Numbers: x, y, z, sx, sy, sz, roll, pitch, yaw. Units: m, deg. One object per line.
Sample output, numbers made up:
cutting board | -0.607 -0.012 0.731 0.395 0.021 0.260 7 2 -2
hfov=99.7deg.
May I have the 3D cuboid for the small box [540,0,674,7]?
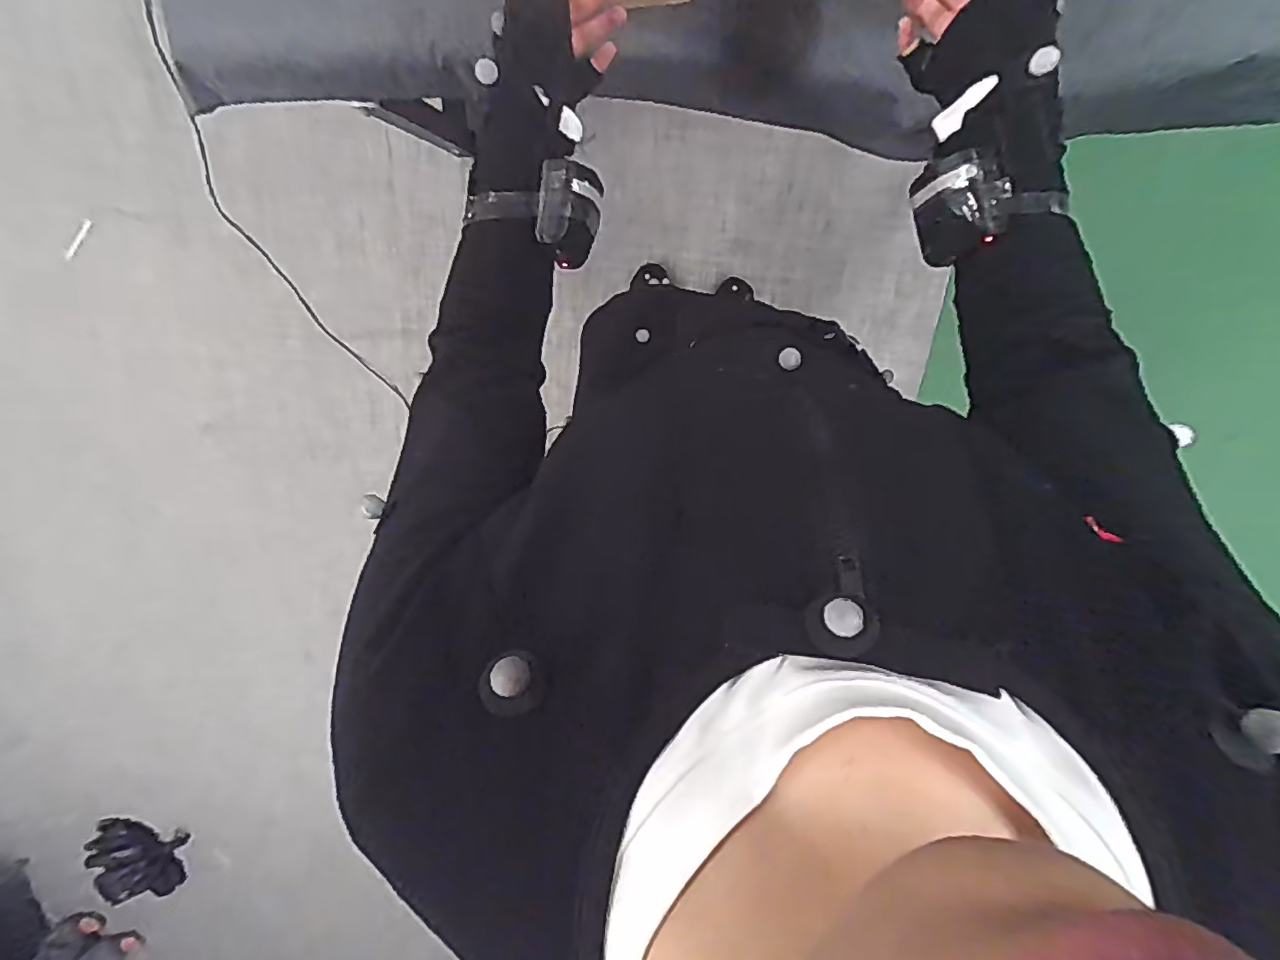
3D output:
small box | -0.040 -0.533 0.448 0.168 0.176 0.179 -1 108 4
